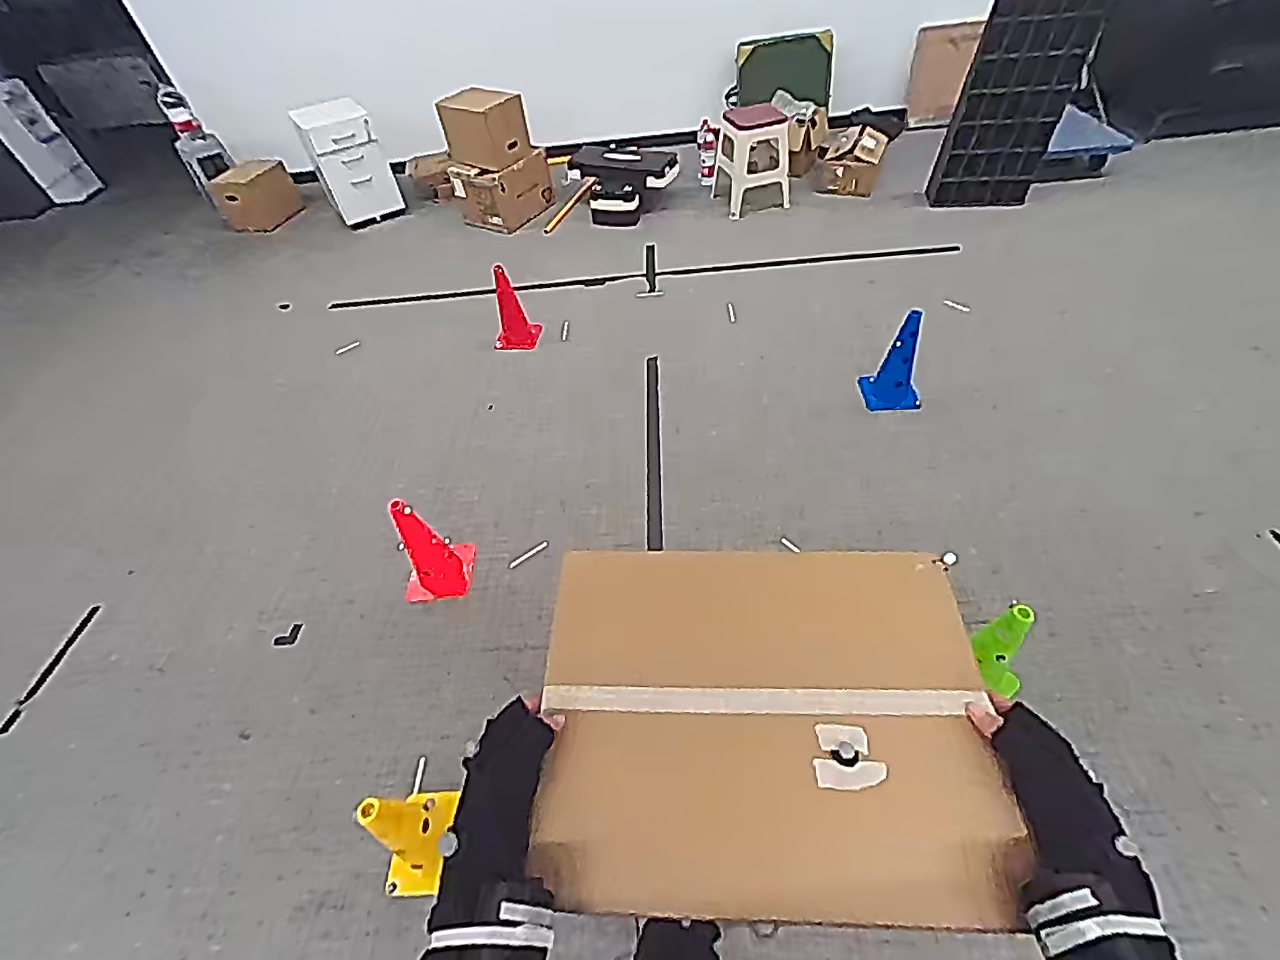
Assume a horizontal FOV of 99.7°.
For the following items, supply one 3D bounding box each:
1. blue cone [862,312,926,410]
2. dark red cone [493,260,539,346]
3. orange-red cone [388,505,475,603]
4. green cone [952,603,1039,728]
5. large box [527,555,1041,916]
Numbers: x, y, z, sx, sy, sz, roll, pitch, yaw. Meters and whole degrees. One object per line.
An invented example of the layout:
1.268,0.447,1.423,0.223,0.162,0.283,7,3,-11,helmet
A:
0.969,-0.447,2.003,0.192,0.380,0.193,-1,49,5,blue cone
-0.600,-0.803,2.451,0.201,0.394,0.202,1,49,7,dark red cone
-0.656,0.196,1.619,0.198,0.360,0.199,-6,50,3,orange-red cone
0.826,0.397,1.262,0.202,0.368,0.200,-32,54,-22,green cone
0.116,0.298,0.623,0.408,0.320,0.320,0,53,4,large box
